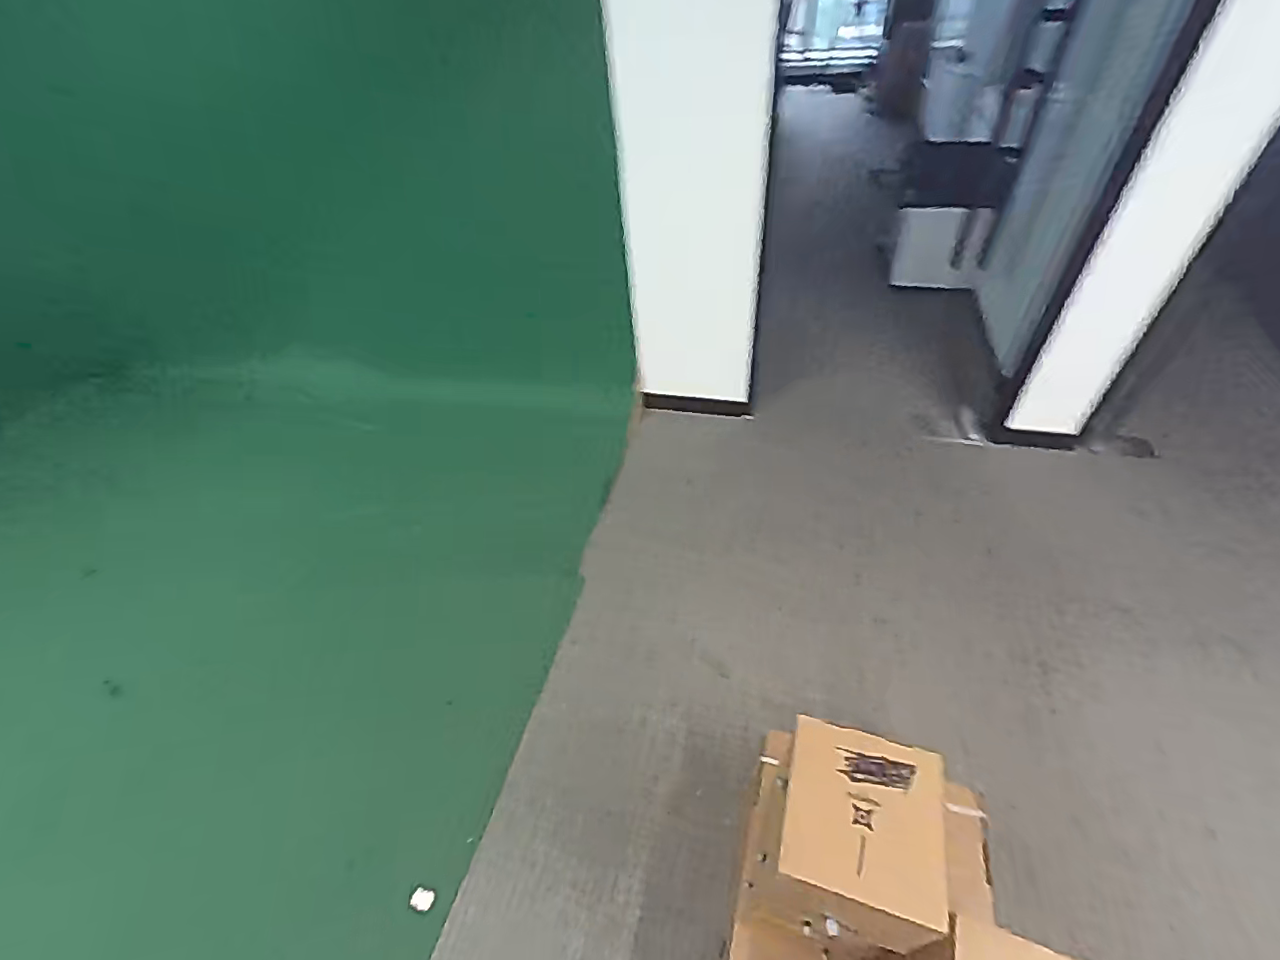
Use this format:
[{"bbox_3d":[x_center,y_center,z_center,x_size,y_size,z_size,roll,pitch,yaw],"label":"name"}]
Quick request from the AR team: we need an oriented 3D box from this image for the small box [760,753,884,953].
[{"bbox_3d":[0.271,0.533,0.775,0.168,0.176,0.179,10,46,16],"label":"small box"}]

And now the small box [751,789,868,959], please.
[{"bbox_3d":[0.279,0.652,0.886,0.168,0.176,0.179,11,45,17],"label":"small box"}]

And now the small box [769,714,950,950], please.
[{"bbox_3d":[0.256,0.422,0.654,0.168,0.176,0.179,11,47,17],"label":"small box"}]
